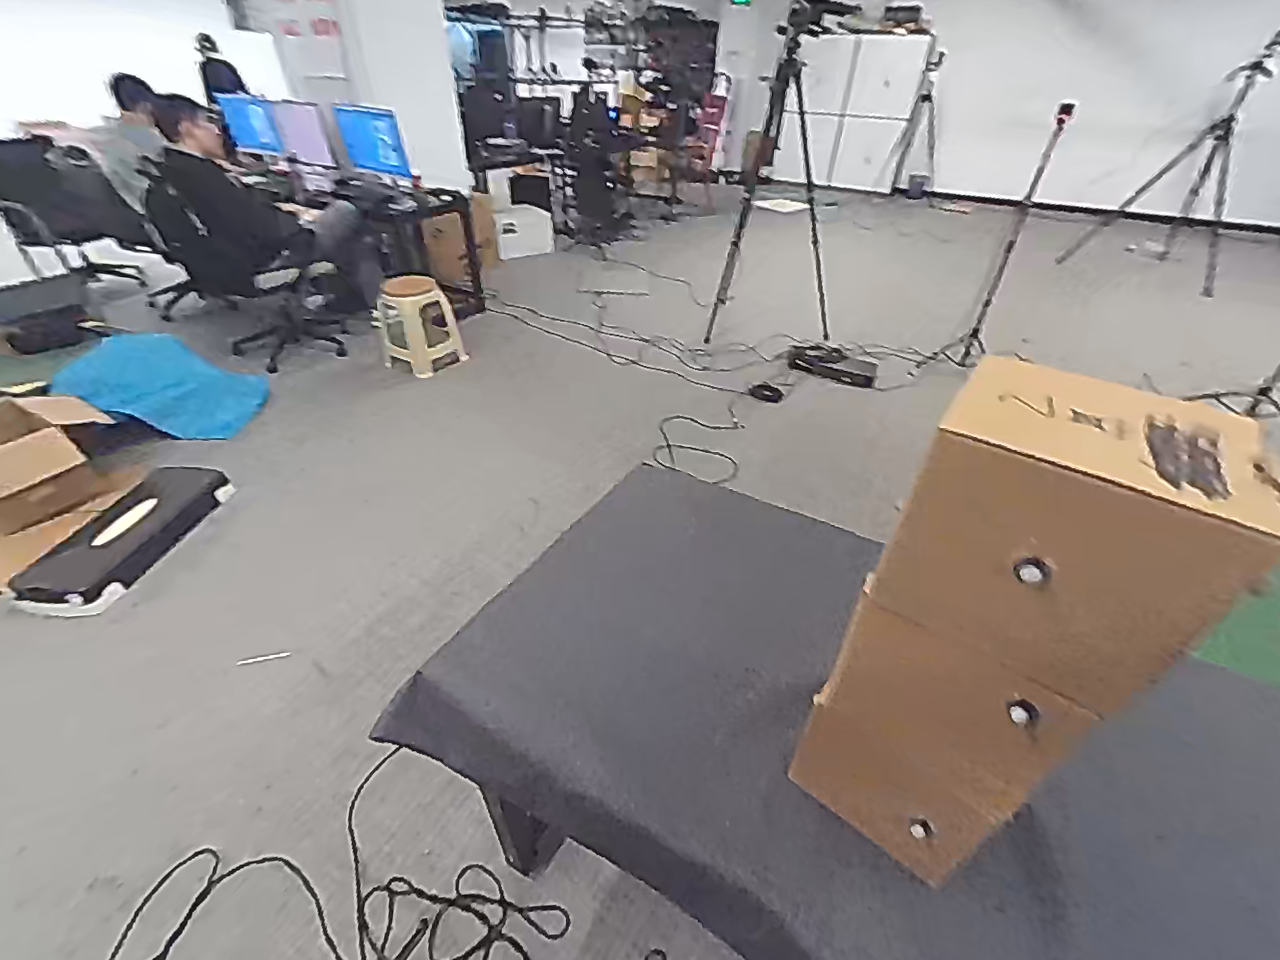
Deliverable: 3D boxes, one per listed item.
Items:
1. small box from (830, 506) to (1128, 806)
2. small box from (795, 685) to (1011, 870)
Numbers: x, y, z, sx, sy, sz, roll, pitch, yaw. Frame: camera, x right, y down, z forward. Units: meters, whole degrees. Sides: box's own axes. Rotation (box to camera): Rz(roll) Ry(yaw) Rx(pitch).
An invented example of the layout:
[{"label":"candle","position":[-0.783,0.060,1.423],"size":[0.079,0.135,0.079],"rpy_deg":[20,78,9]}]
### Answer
[{"label":"small box","position":[0.306,0.159,0.513],"size":[0.179,0.176,0.168],"rpy_deg":[28,43,30]},{"label":"small box","position":[0.300,0.291,0.607],"size":[0.179,0.176,0.168],"rpy_deg":[27,43,31]}]
